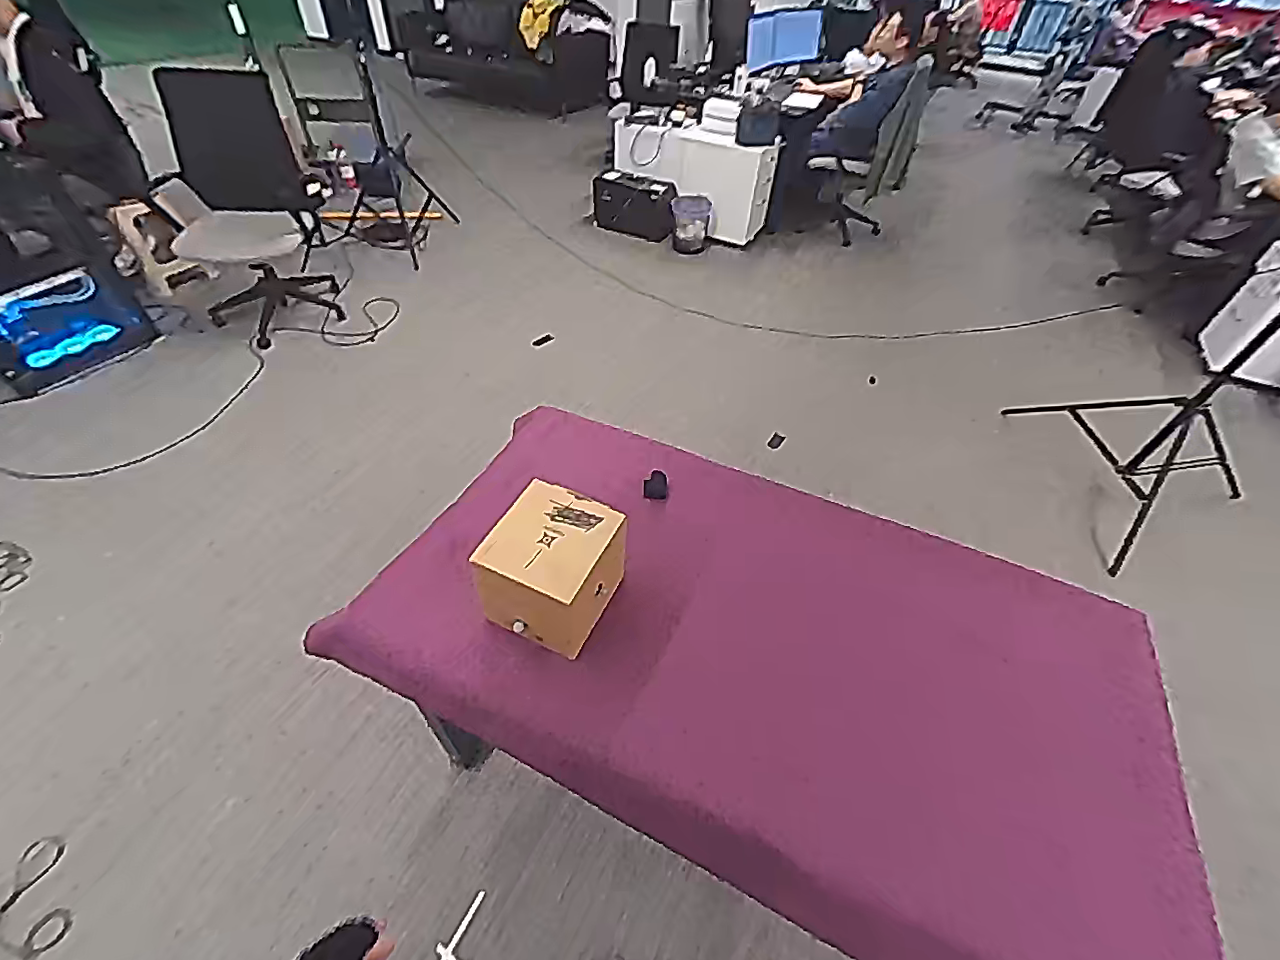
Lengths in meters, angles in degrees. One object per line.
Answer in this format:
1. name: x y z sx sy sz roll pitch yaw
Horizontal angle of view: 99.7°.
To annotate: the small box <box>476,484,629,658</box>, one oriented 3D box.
1. small box: -0.130 0.142 0.850 0.168 0.176 0.179 20 48 15
